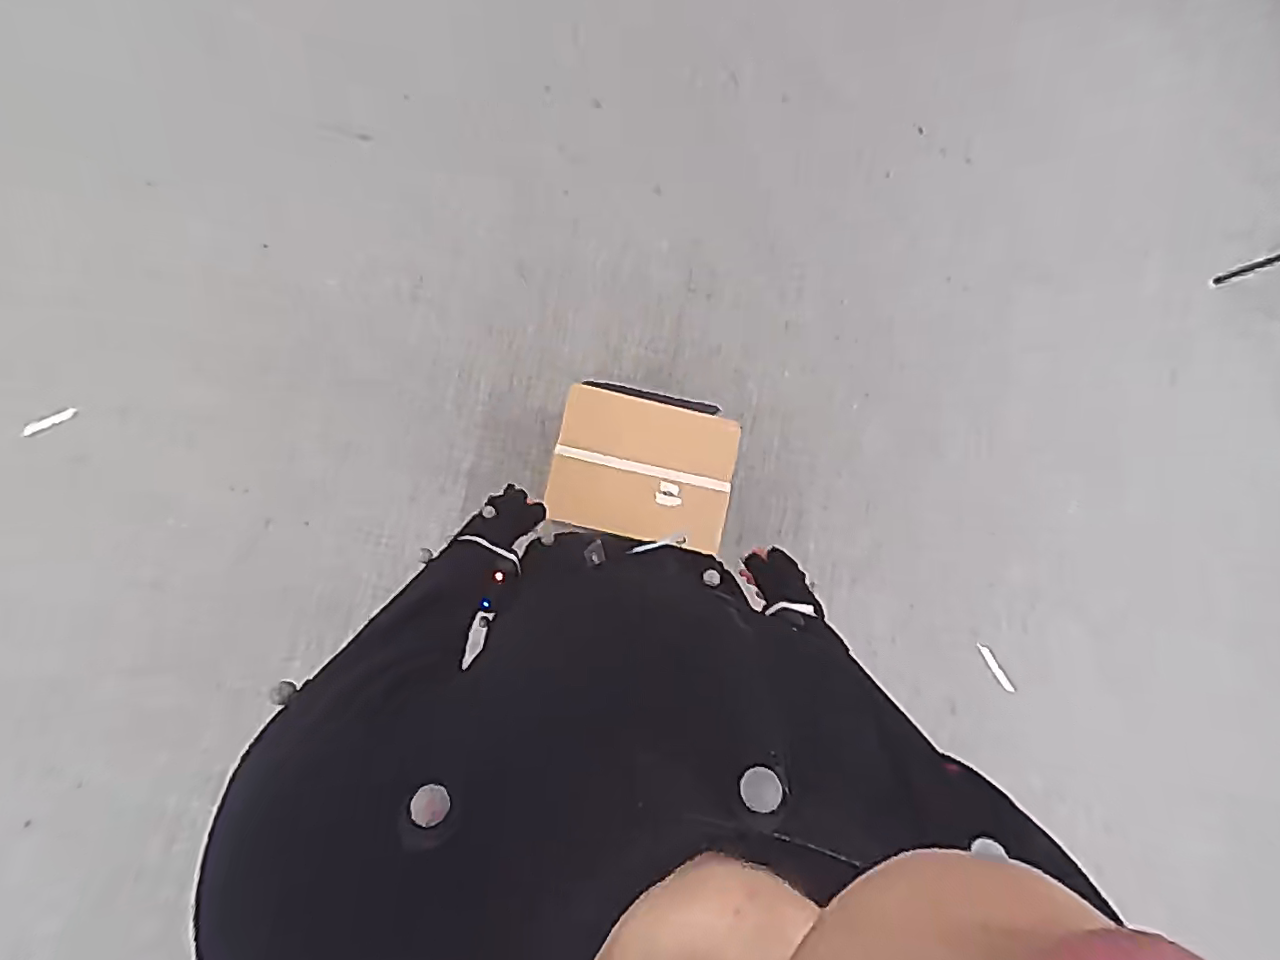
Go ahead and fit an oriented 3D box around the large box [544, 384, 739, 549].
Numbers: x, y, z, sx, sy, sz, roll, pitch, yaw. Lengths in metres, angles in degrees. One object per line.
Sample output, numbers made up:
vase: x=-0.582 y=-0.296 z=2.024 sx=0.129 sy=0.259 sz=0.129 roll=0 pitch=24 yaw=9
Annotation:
large box: x=-0.008 y=-0.015 z=1.373 sx=0.408 sy=0.320 sz=0.320 roll=13 pitch=83 yaw=-5
